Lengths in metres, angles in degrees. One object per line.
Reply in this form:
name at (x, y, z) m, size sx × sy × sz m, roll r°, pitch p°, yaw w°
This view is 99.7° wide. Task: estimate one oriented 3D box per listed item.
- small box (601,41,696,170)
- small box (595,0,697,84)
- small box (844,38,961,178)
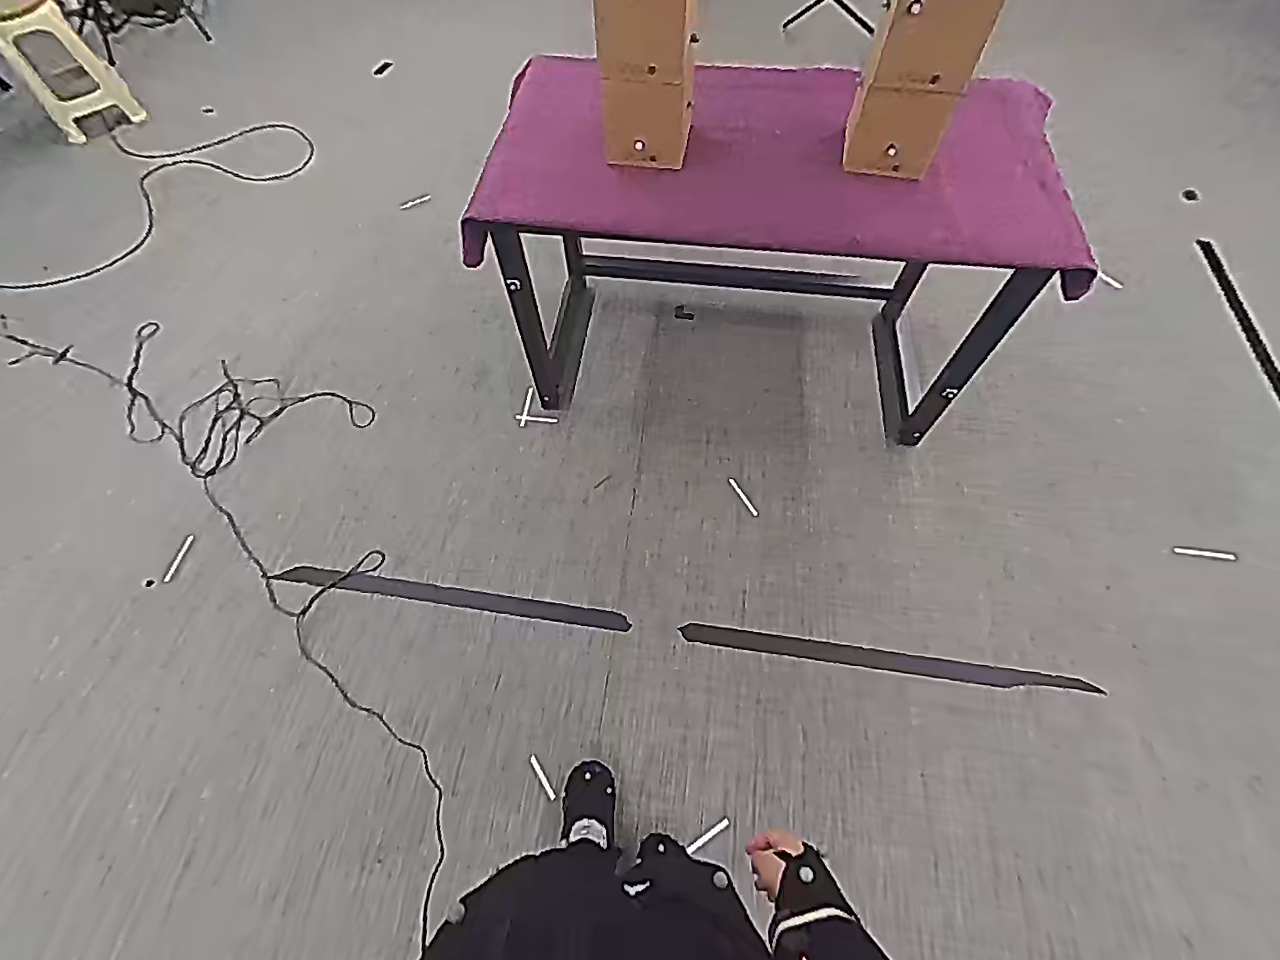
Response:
small box at (0.019, -0.785, 1.129) m, size 0.168 × 0.176 × 0.179 m, roll 8°, pitch 63°, yaw 5°
small box at (0.014, -0.862, 0.984) m, size 0.168 × 0.176 × 0.179 m, roll 8°, pitch 62°, yaw 6°
small box at (0.525, -0.753, 1.099) m, size 0.168 × 0.176 × 0.179 m, roll 11°, pitch 63°, yaw 8°
